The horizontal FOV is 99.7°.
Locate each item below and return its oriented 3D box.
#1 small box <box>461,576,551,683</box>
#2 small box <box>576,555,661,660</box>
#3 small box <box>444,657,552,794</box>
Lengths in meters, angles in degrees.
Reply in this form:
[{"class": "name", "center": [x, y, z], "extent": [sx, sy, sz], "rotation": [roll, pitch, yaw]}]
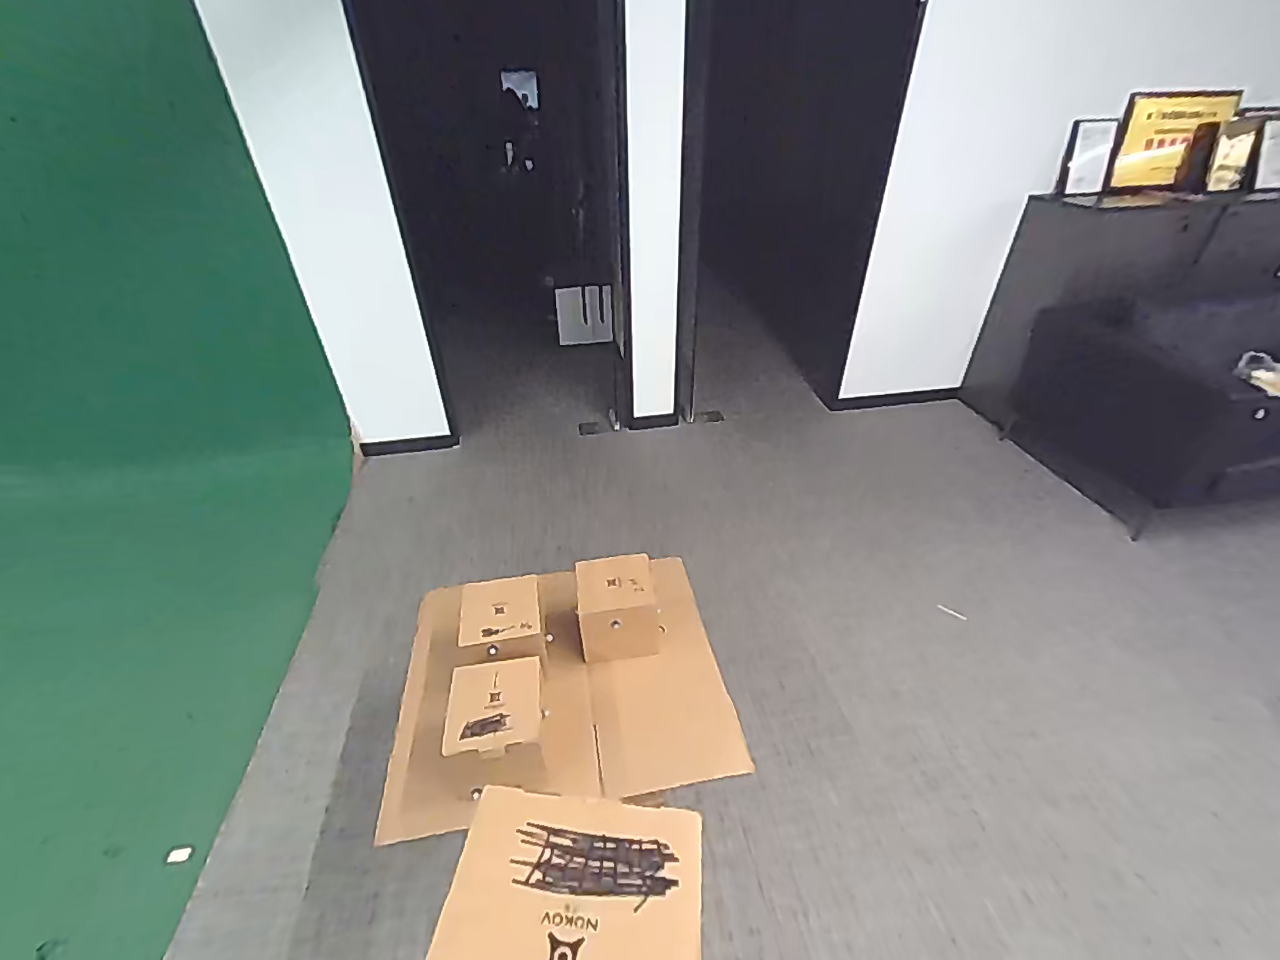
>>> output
[{"class": "small box", "center": [-0.294, 0.344, 1.207], "extent": [0.168, 0.176, 0.179], "rotation": [-8, 35, -8]}, {"class": "small box", "center": [-0.051, 0.300, 1.262], "extent": [0.179, 0.176, 0.168], "rotation": [-6, 36, -4]}, {"class": "small box", "center": [-0.259, 0.470, 1.027], "extent": [0.168, 0.176, 0.179], "rotation": [-6, 35, -6]}]
